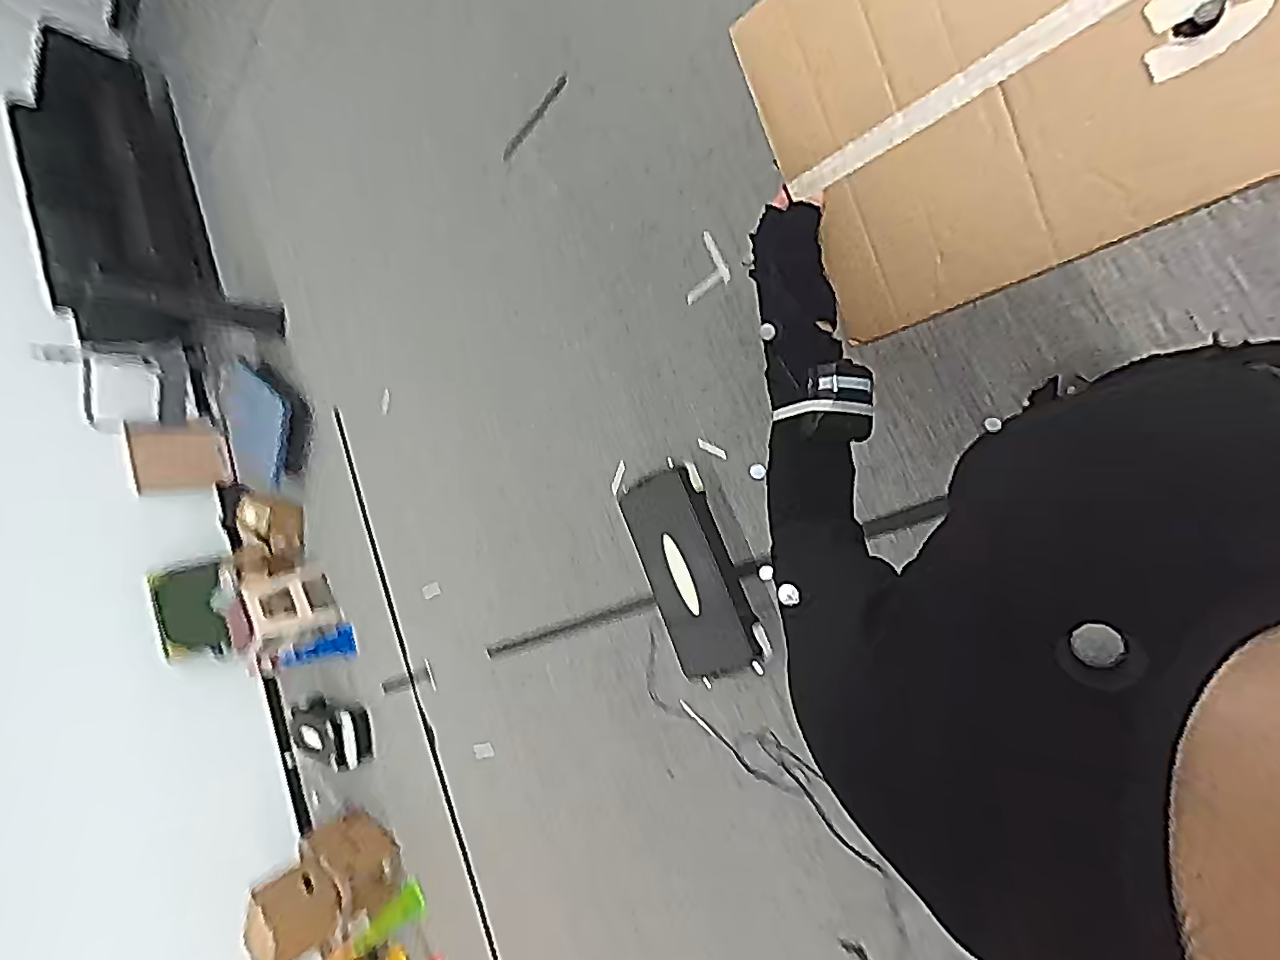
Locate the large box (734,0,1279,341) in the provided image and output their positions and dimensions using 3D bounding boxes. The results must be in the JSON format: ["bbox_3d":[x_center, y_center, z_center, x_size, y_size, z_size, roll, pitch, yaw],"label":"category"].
[{"bbox_3d":[0.369,-0.371,0.509,0.408,0.320,0.320,-21,97,36],"label":"large box"}]
